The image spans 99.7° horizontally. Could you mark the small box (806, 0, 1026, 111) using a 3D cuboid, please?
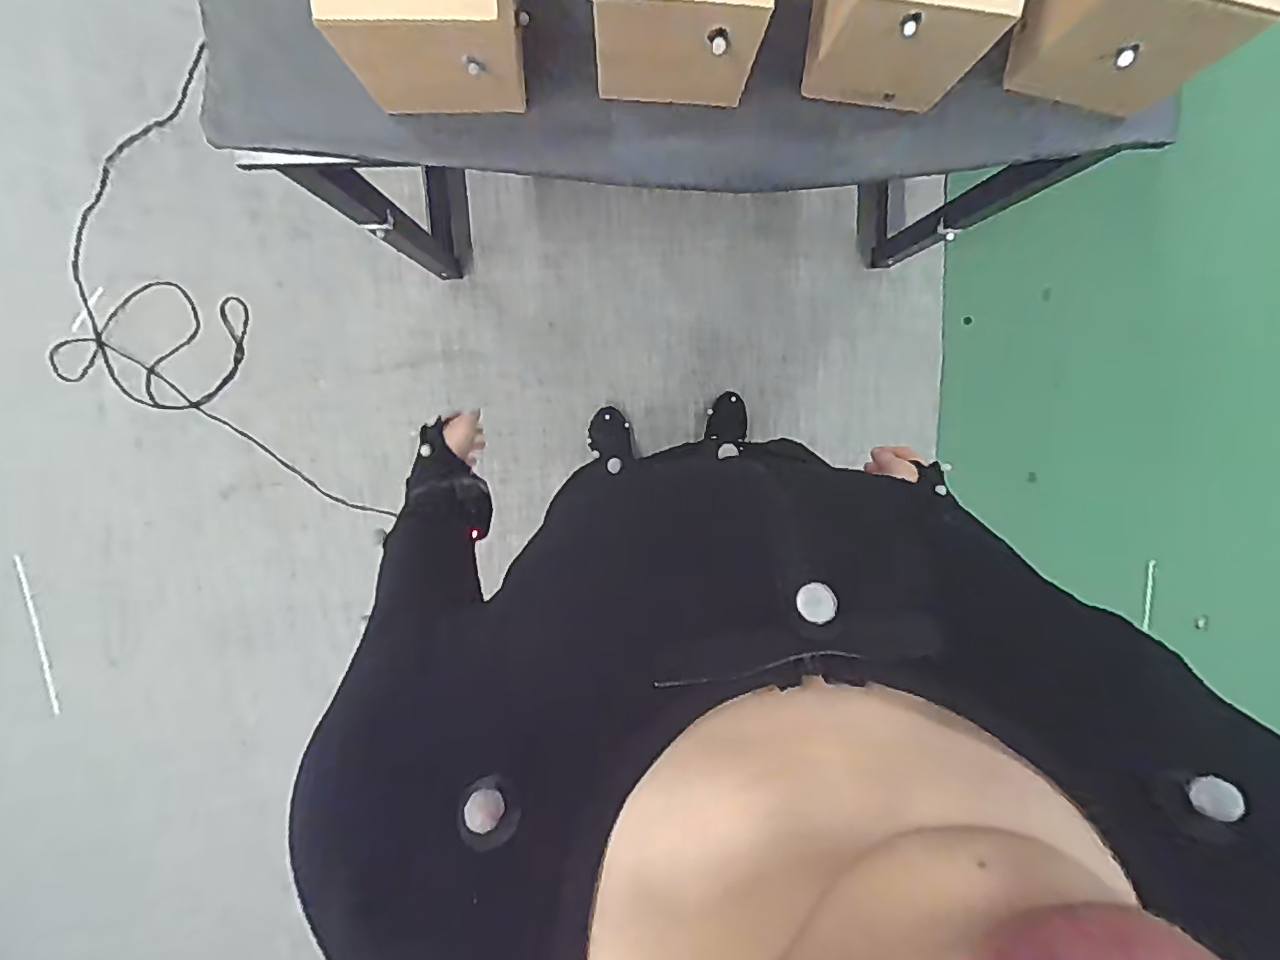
[{"bbox_3d":[0.295,-0.550,0.587,0.168,0.176,0.179,6,96,-3],"label":"small box"}]

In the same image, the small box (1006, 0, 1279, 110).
[{"bbox_3d":[0.556,-0.547,0.591,0.179,0.176,0.168,11,94,-2],"label":"small box"}]

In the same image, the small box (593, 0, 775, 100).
[{"bbox_3d":[0.044,-0.543,0.580,0.179,0.176,0.168,3,97,-1],"label":"small box"}]
